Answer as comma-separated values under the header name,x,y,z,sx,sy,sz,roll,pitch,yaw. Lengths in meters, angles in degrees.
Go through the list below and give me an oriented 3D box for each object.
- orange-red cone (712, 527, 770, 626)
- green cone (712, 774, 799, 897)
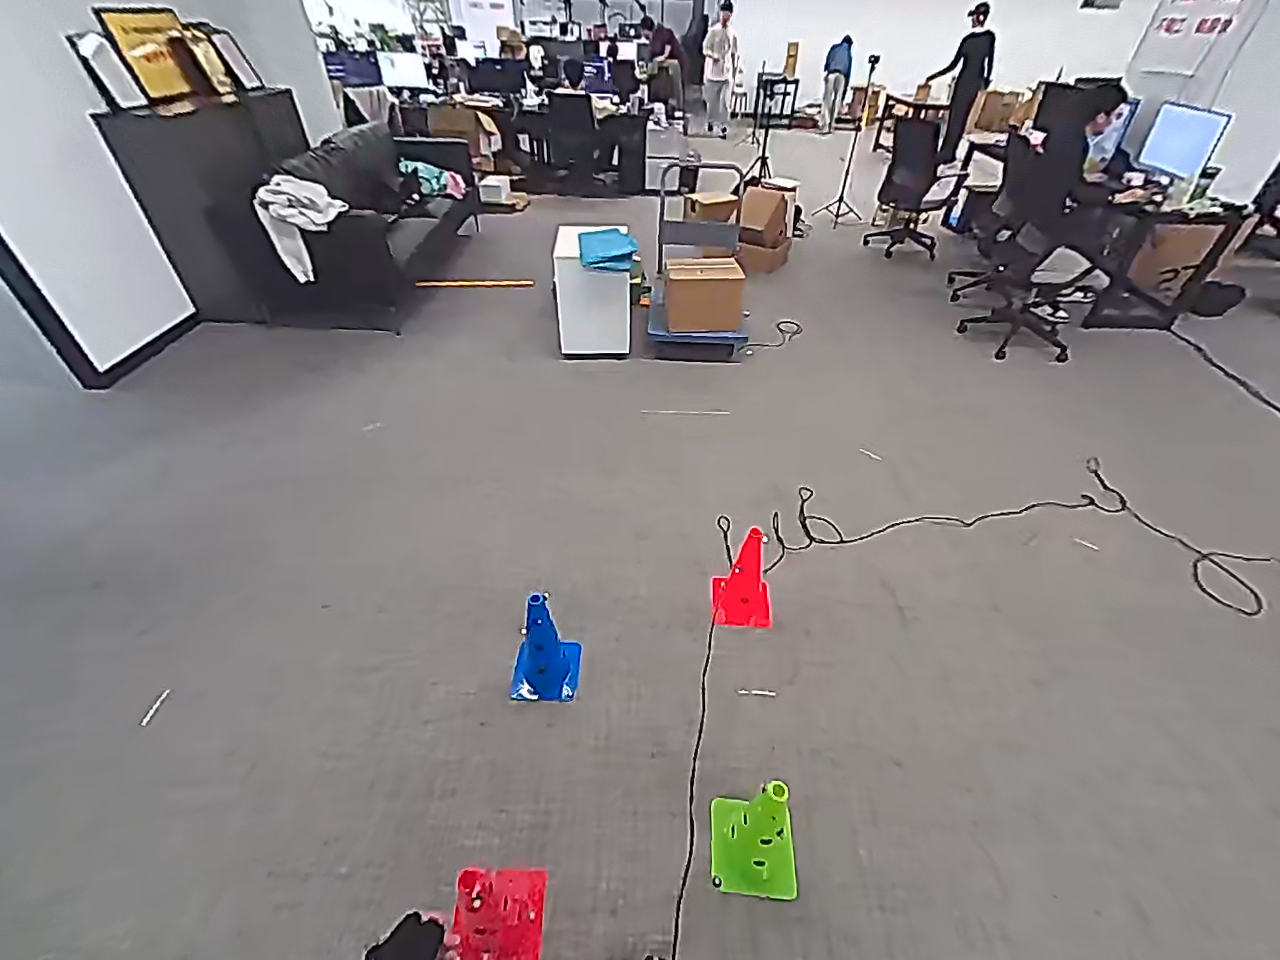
name,x,y,z,sx,sy,sz,roll,pitch,yaw
orange-red cone,0.349,0.290,1.767,0.198,0.360,0.199,4,42,5
green cone,0.283,0.760,1.210,0.200,0.368,0.202,4,40,2
